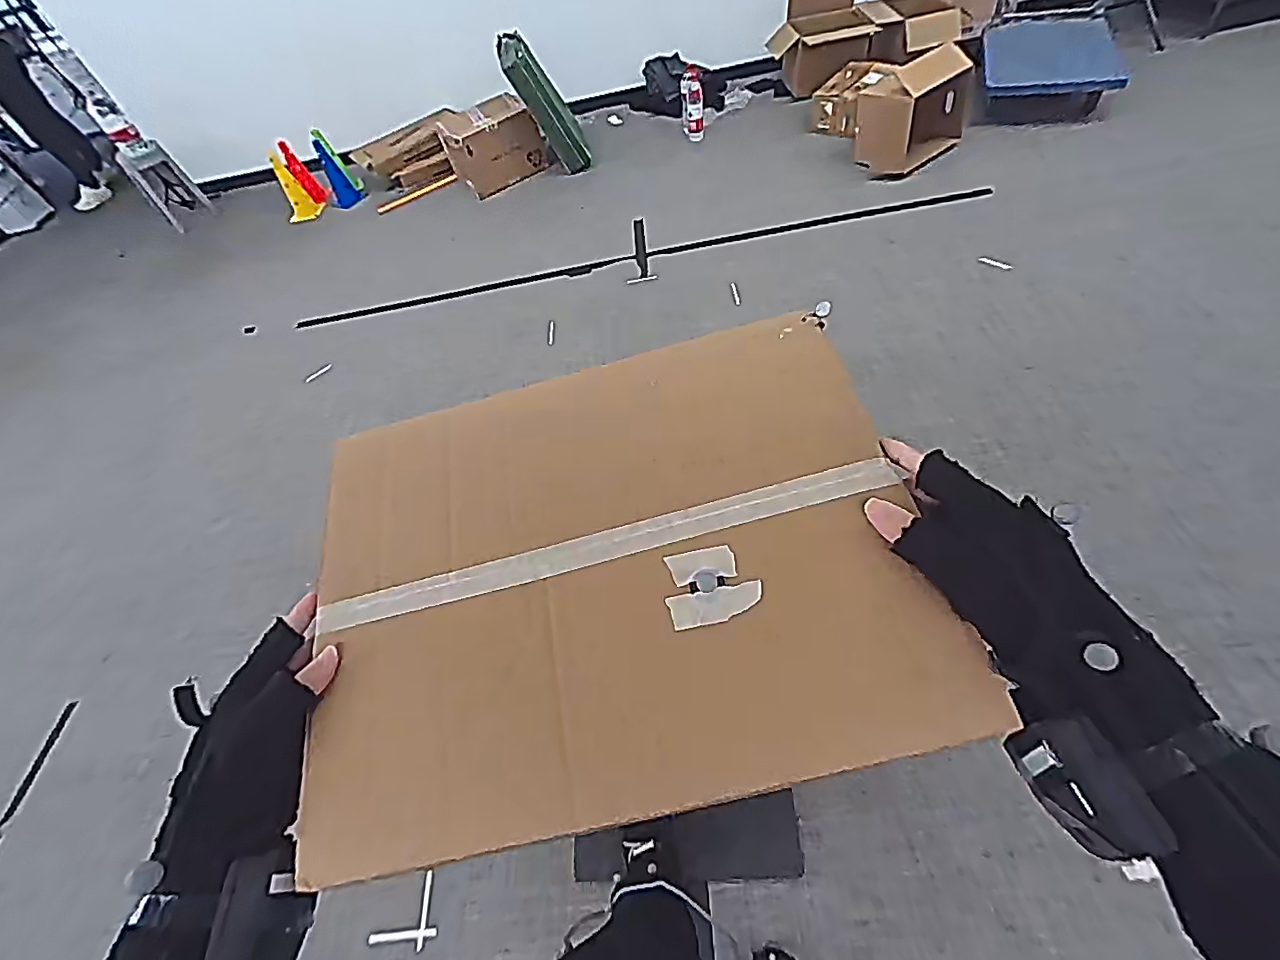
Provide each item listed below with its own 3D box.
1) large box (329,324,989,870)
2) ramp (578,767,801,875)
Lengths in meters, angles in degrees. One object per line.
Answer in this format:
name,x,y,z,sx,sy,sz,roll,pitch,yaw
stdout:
large box,0.000,0.120,0.511,0.408,0.320,0.320,-15,61,3
ramp,0.082,0.395,1.376,0.509,0.206,0.991,-7,54,5
